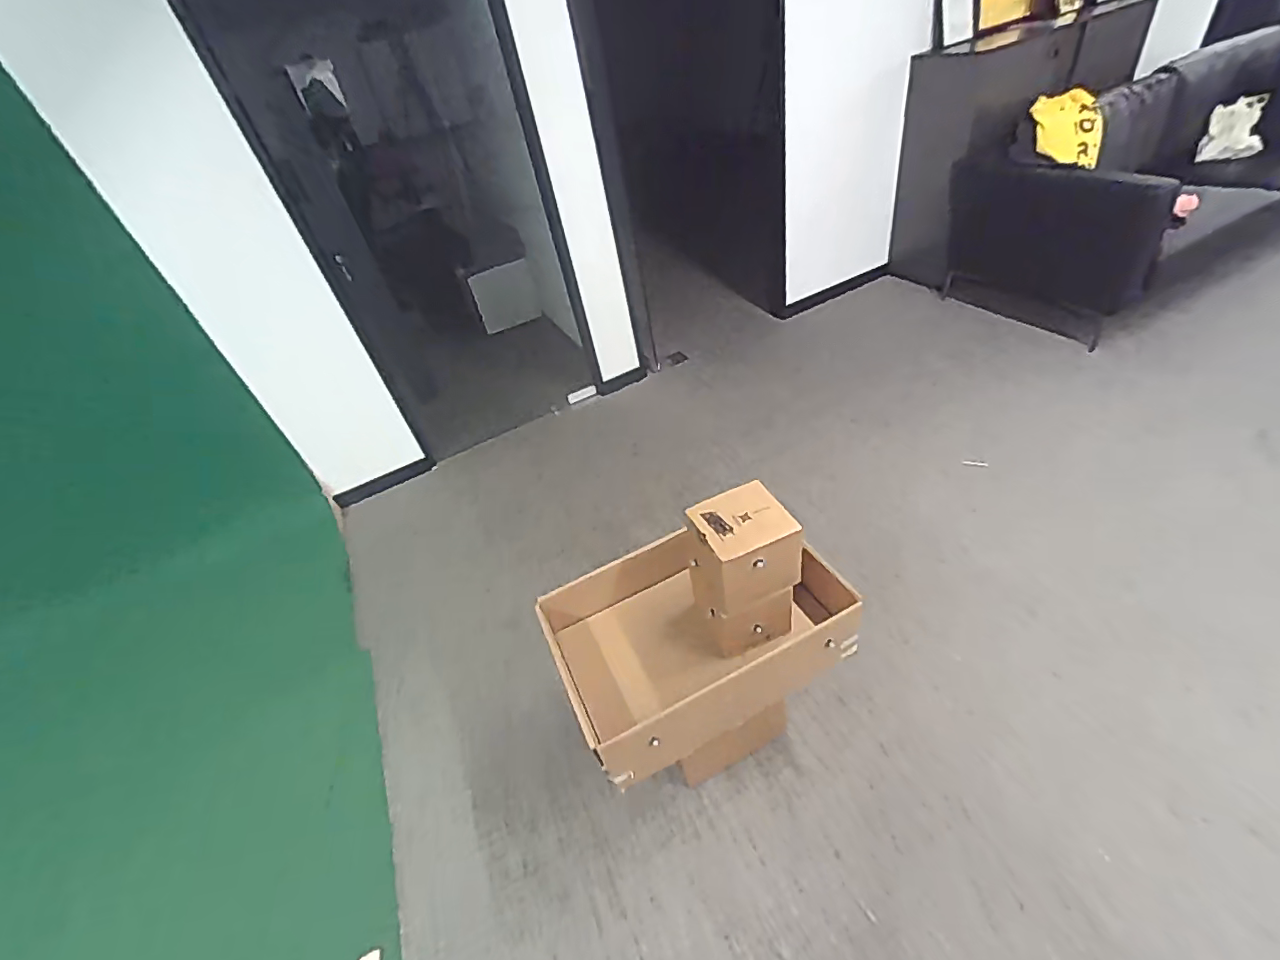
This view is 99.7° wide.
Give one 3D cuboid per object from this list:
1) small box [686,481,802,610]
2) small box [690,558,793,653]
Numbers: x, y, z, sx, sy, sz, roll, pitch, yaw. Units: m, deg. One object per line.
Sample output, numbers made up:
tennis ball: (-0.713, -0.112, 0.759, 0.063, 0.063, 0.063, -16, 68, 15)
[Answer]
small box: (0.214, 0.137, 1.111, 0.179, 0.176, 0.168, -21, 41, -10)
small box: (0.230, 0.264, 1.215, 0.168, 0.176, 0.179, -20, 40, -9)
